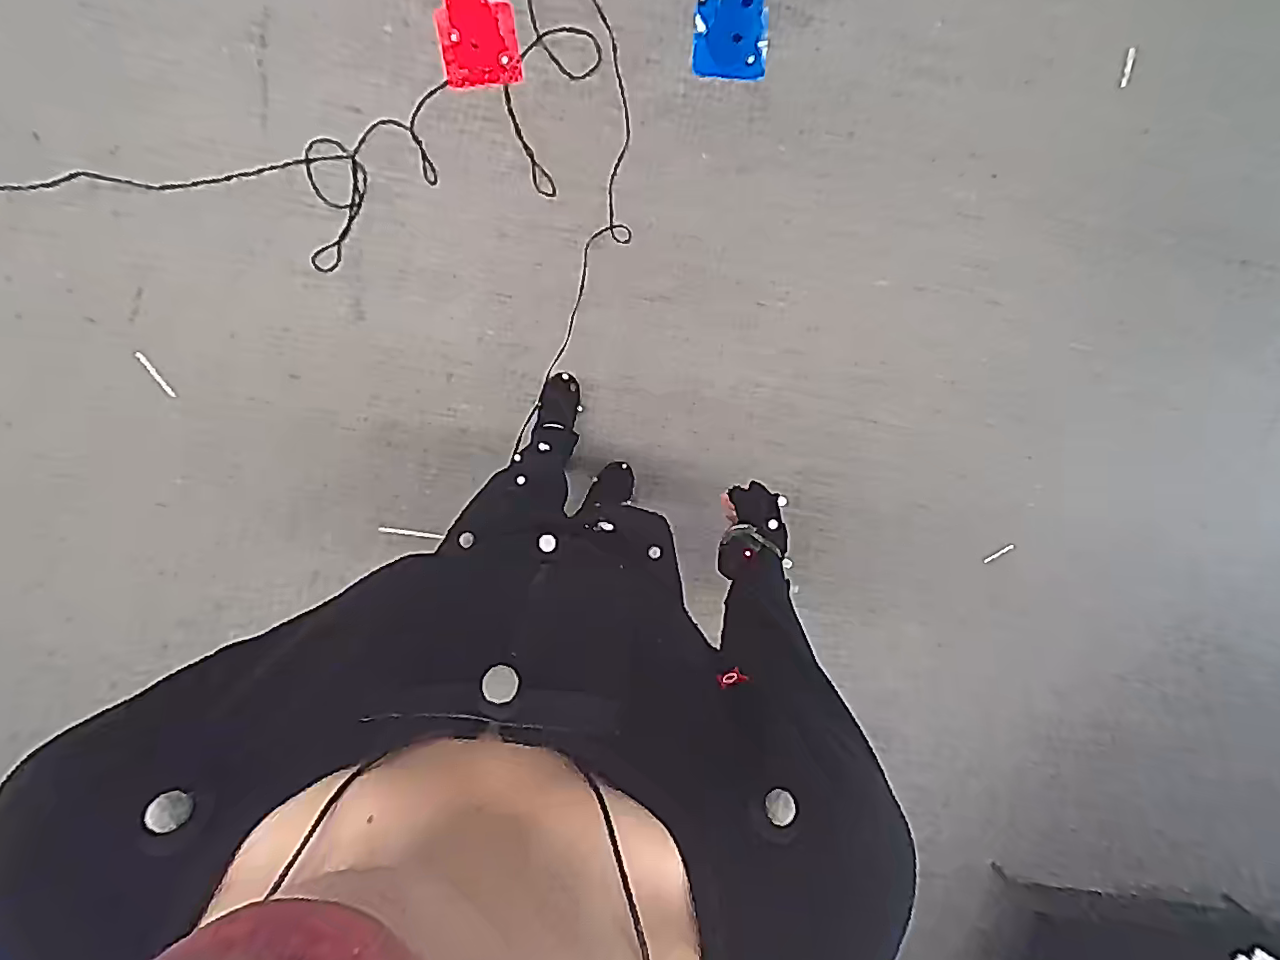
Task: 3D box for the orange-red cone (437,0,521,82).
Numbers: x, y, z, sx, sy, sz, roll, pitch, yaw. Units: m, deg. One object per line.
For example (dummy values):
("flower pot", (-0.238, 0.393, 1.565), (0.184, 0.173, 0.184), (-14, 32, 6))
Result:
("orange-red cone", (-0.400, -1.120, 1.218), (0.198, 0.360, 0.199), (-9, 94, -4))
